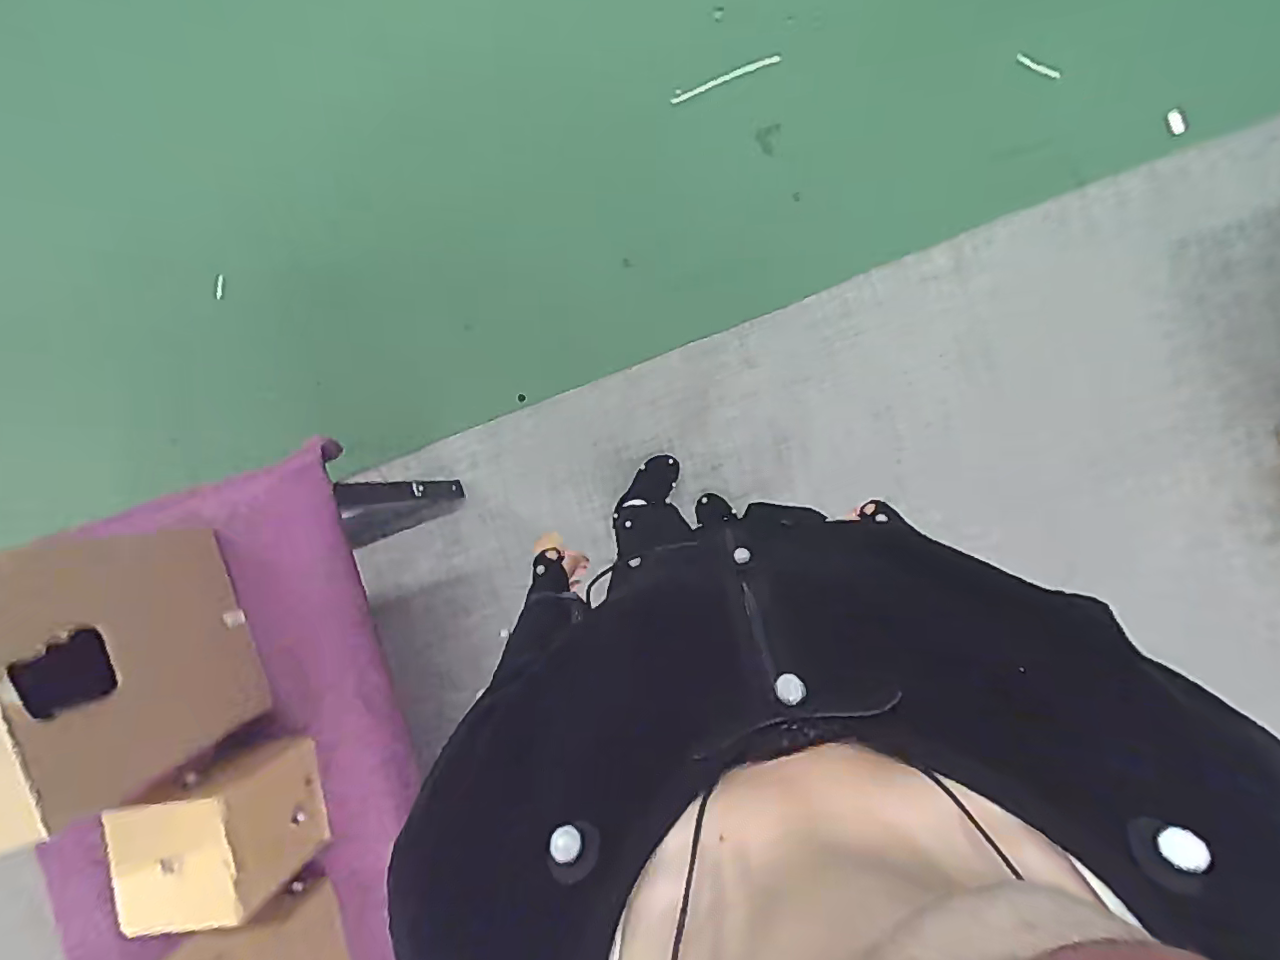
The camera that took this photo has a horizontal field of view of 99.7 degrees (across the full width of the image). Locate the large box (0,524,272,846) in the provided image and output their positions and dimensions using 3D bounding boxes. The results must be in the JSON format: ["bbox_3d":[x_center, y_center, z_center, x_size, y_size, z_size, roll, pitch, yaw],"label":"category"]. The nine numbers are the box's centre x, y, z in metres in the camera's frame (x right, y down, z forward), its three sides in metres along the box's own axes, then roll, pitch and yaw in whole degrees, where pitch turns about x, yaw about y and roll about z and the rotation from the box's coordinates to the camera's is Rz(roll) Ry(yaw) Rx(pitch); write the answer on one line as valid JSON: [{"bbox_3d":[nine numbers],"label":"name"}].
[{"bbox_3d":[-0.820,0.278,0.718,0.408,0.320,0.320,-20,90,4],"label":"large box"}]
